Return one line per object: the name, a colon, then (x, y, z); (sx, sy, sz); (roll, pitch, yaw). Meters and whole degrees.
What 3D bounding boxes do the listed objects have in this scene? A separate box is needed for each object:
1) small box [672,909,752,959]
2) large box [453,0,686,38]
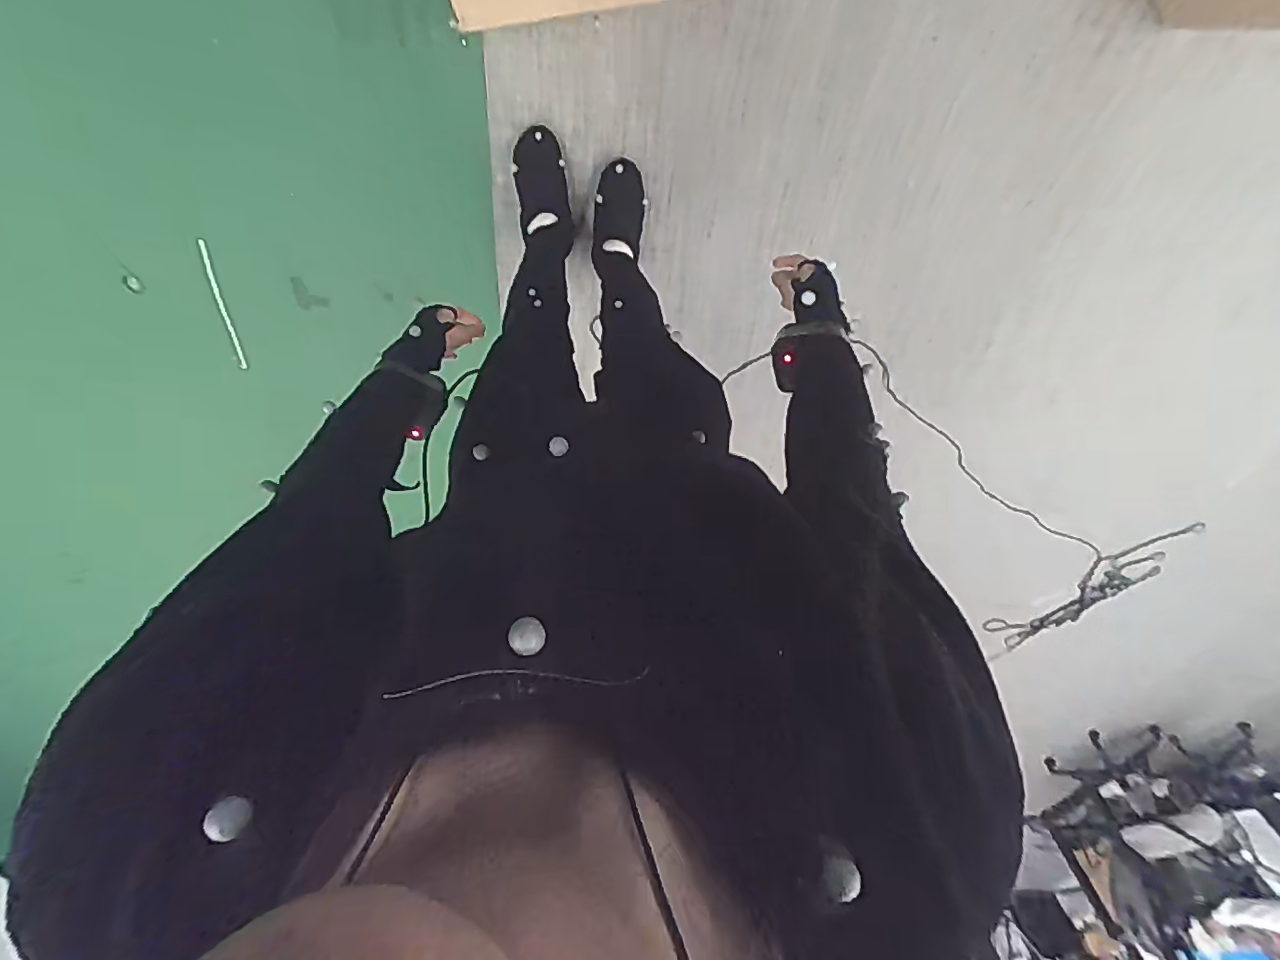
small box: (0.192, 1.253, 1.423); (0.179, 0.176, 0.168); (4, 129, -9)
large box: (-0.090, -0.886, 0.800); (0.408, 0.320, 0.320); (-8, 128, 2)
